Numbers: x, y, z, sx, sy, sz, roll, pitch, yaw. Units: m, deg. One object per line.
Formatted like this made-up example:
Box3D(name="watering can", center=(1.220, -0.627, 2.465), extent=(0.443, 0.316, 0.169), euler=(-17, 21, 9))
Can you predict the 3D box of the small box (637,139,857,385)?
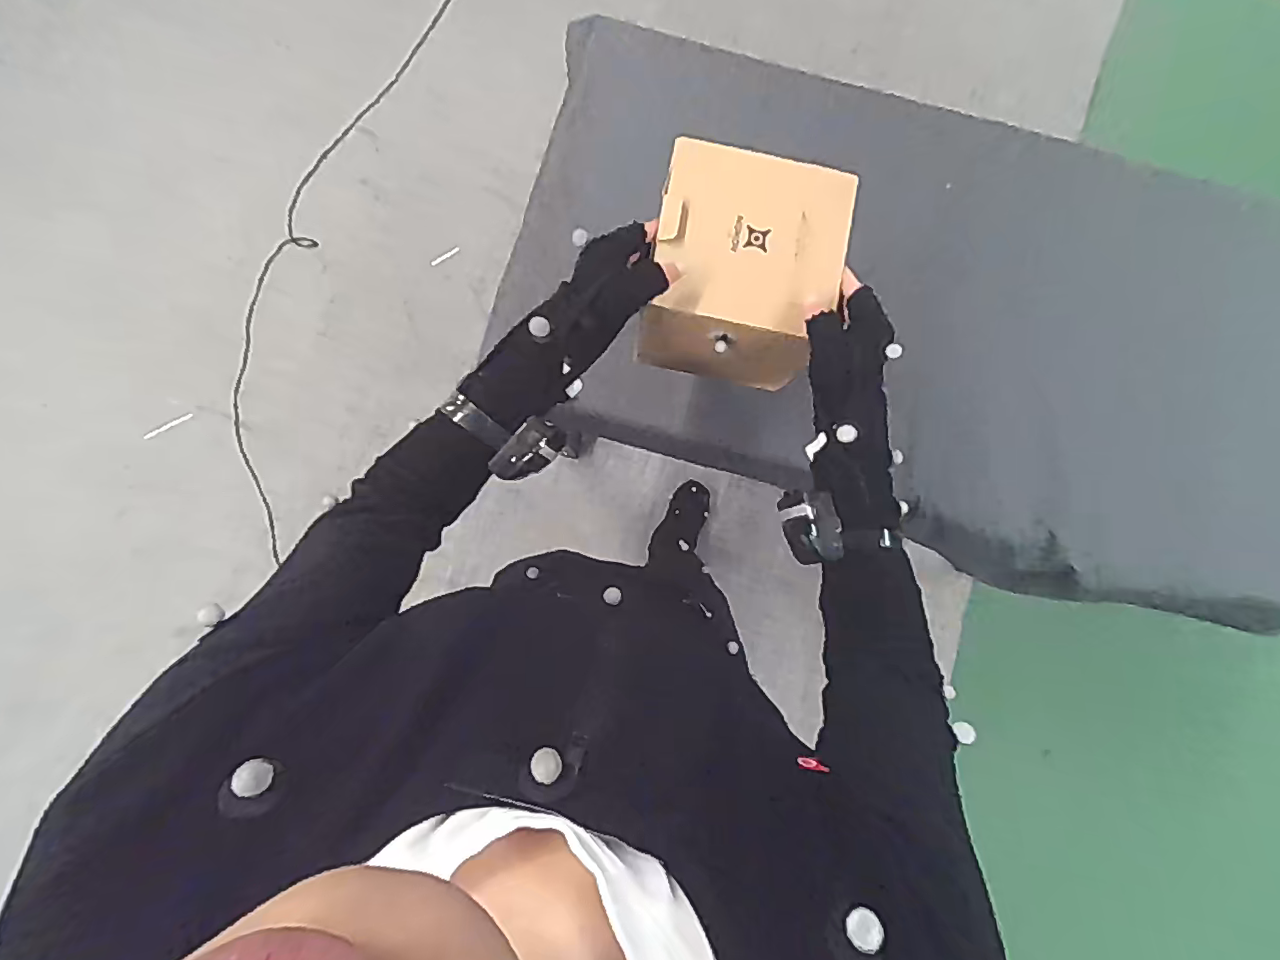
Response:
Box3D(name="small box", center=(0.097, -0.210, 0.570), extent=(0.179, 0.176, 0.168), euler=(11, 84, -4))
